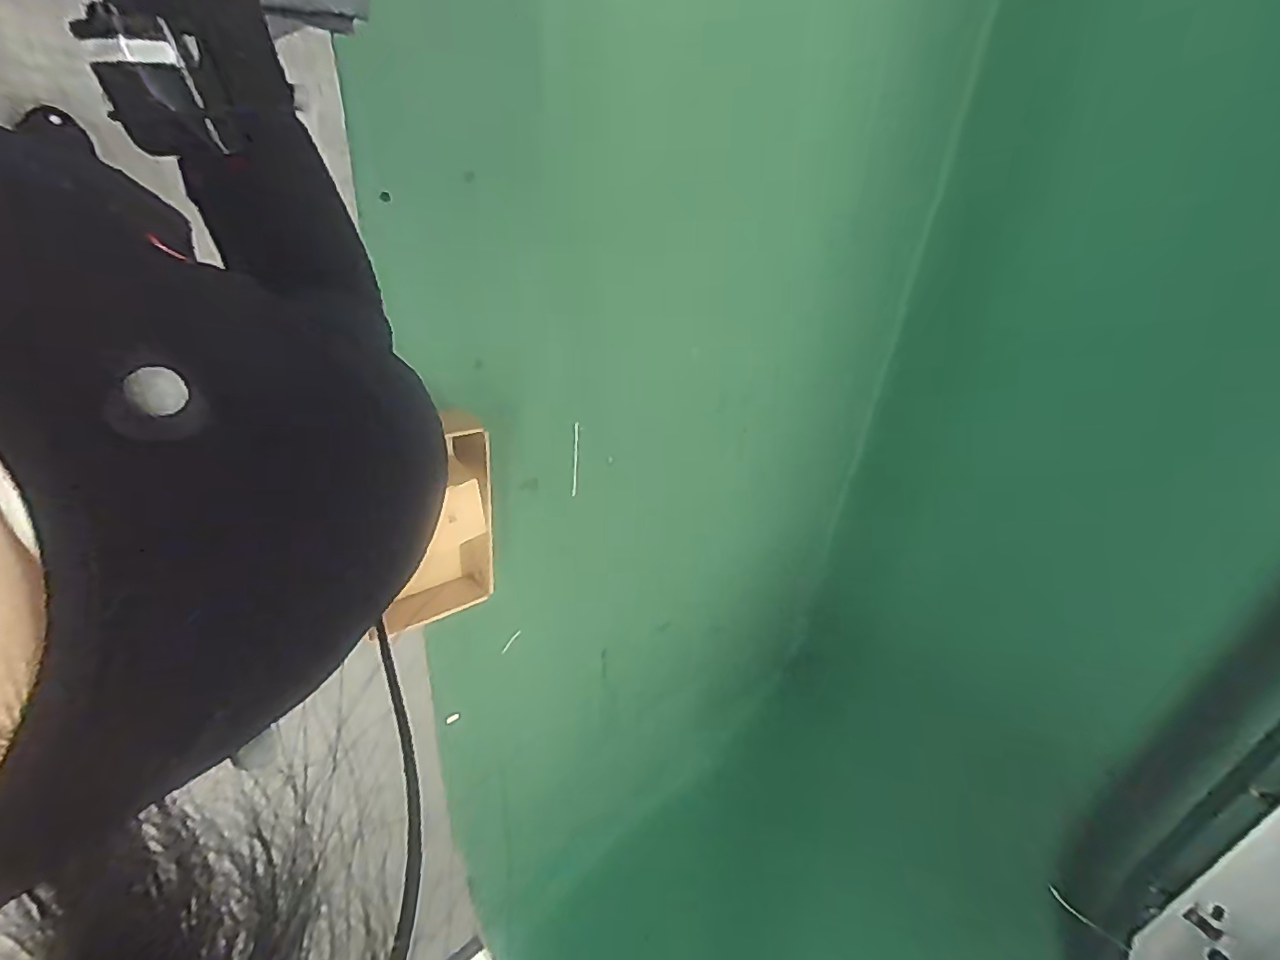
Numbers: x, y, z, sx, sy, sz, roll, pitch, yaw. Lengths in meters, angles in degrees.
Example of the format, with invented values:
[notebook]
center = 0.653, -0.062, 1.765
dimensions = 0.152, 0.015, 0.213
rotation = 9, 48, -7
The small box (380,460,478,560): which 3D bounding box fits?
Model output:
[small box]
center = -0.539, 0.065, 1.381
dimensions = 0.168, 0.176, 0.179
rotation = -25, 133, -33
